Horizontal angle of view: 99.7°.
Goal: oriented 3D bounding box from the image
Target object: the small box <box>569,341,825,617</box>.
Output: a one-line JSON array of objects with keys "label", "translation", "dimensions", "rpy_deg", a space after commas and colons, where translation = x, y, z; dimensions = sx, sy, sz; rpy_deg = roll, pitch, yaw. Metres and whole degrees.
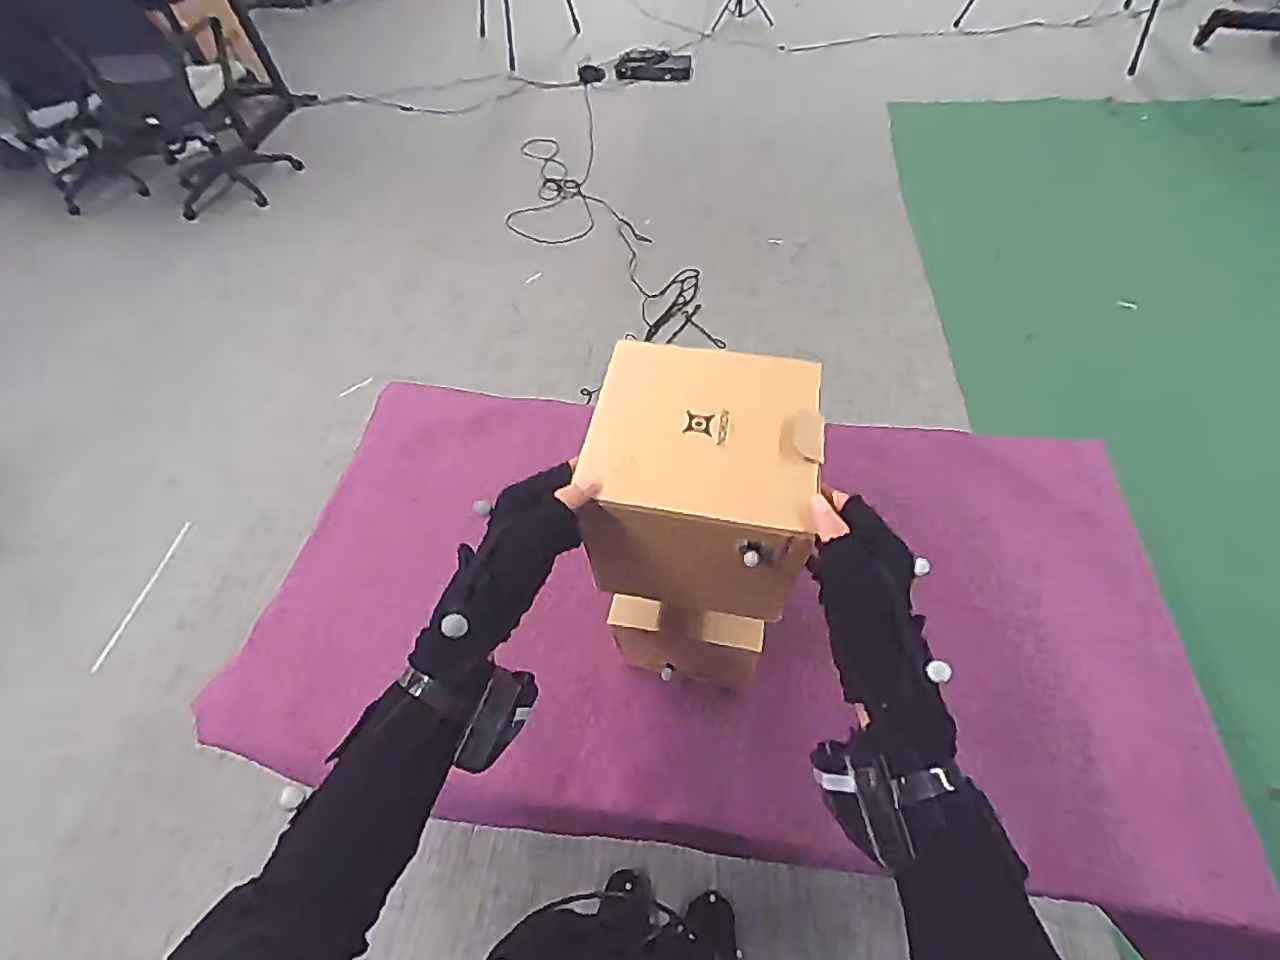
[{"label": "small box", "translation": [0.053, 0.005, 0.470], "dimensions": [0.179, 0.176, 0.168], "rpy_deg": [8, 56, 7]}]

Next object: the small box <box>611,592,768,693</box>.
[{"label": "small box", "translation": [0.070, 0.142, 0.670], "dimensions": [0.168, 0.176, 0.179], "rpy_deg": [8, 57, 11]}]
